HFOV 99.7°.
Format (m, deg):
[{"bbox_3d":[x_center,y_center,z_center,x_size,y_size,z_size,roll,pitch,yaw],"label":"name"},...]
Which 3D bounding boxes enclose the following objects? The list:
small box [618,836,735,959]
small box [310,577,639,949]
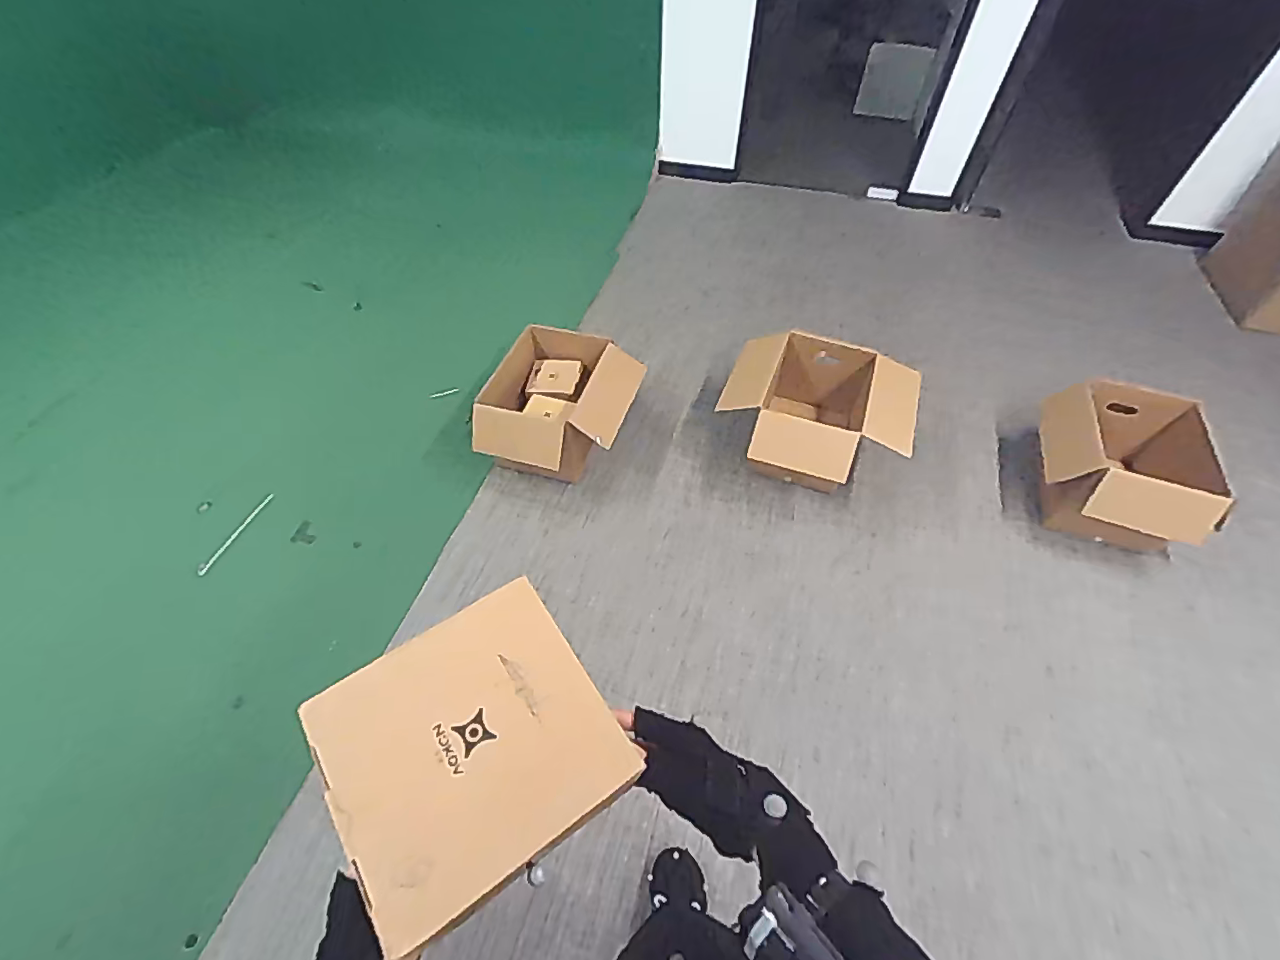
[{"bbox_3d":[0.073,0.881,1.082,0.179,0.176,0.168,-16,18,-41],"label":"small box"},{"bbox_3d":[-0.116,0.215,0.434,0.179,0.176,0.168,-29,64,-20],"label":"small box"}]
